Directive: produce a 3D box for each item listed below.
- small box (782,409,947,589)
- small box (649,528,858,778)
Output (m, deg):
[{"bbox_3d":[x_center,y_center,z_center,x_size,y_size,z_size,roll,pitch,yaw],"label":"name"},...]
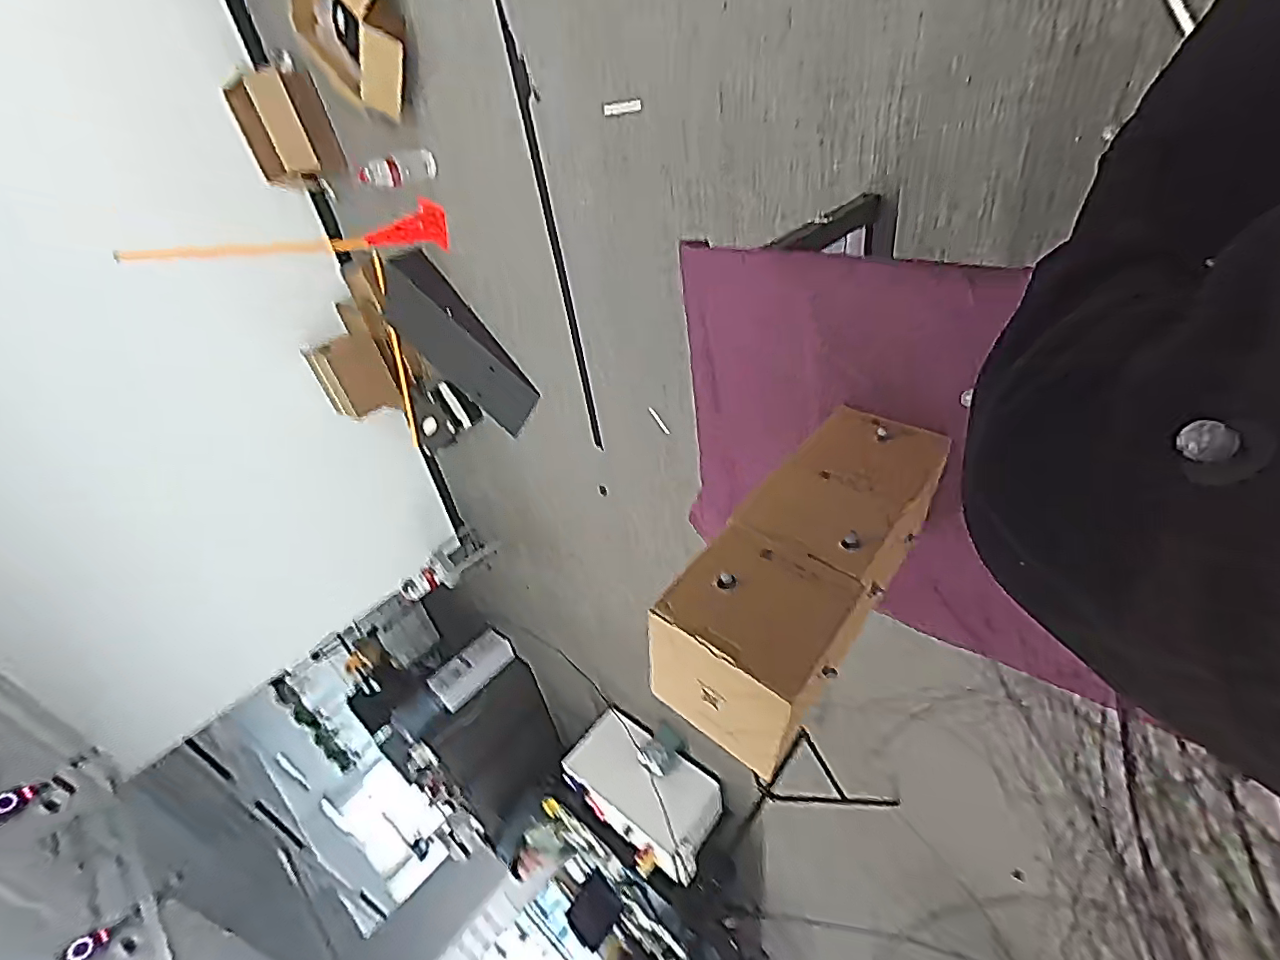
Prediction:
[{"bbox_3d":[0.333,0.022,0.811,0.168,0.176,0.179,25,137,31],"label":"small box"},{"bbox_3d":[0.127,0.186,0.617,0.168,0.176,0.179,27,140,31],"label":"small box"}]
